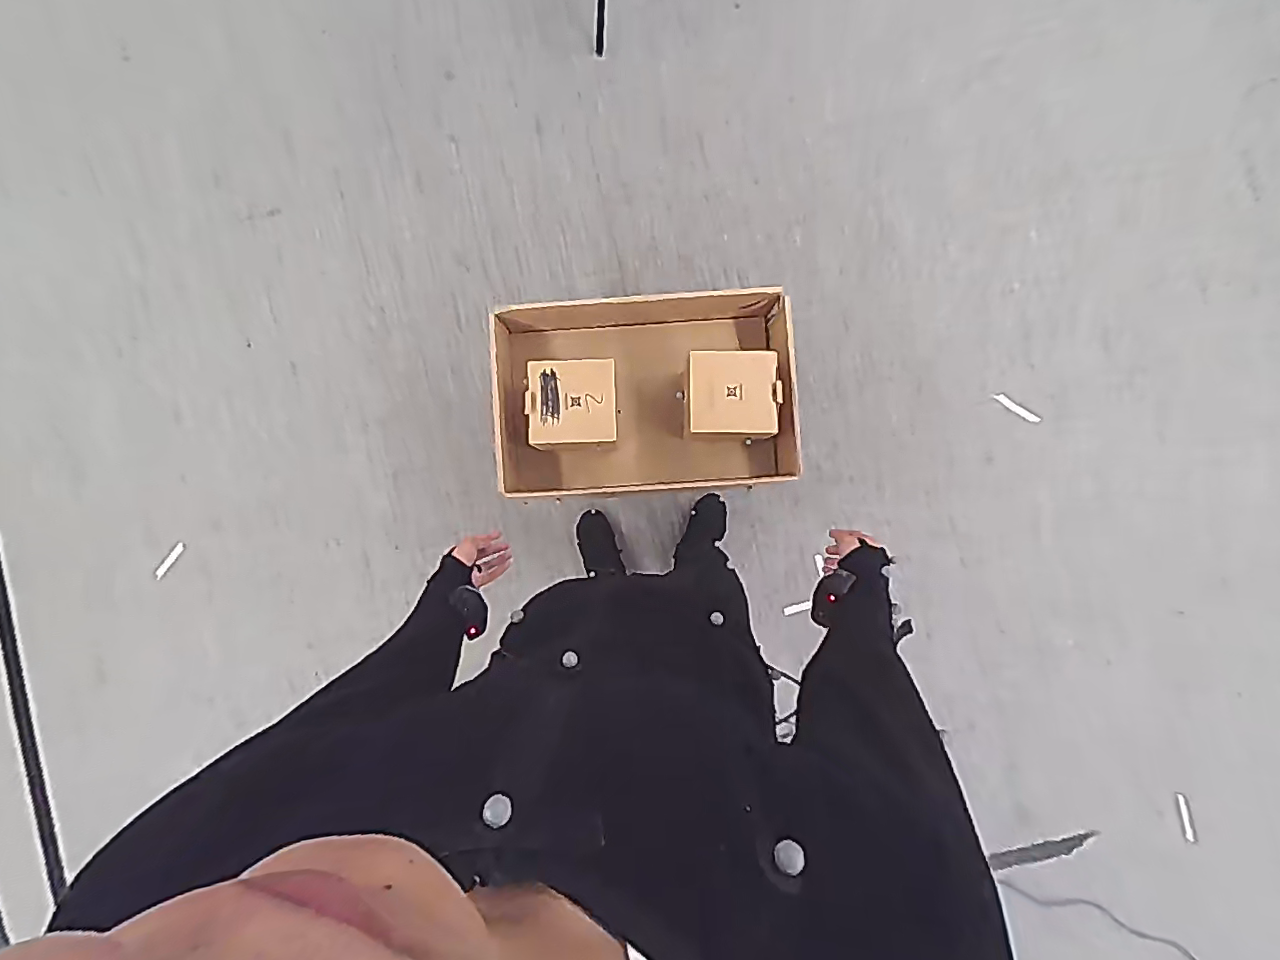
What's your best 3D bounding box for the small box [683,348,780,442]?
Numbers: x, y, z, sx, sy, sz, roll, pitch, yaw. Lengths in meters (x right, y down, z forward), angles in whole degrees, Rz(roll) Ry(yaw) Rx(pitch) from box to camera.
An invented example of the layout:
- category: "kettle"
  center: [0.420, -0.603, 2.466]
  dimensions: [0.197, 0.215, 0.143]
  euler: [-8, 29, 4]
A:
- category: "small box"
  center: [0.186, -0.173, 1.137]
  dimensions: [0.179, 0.176, 0.168]
  euler: [0, 87, 1]
